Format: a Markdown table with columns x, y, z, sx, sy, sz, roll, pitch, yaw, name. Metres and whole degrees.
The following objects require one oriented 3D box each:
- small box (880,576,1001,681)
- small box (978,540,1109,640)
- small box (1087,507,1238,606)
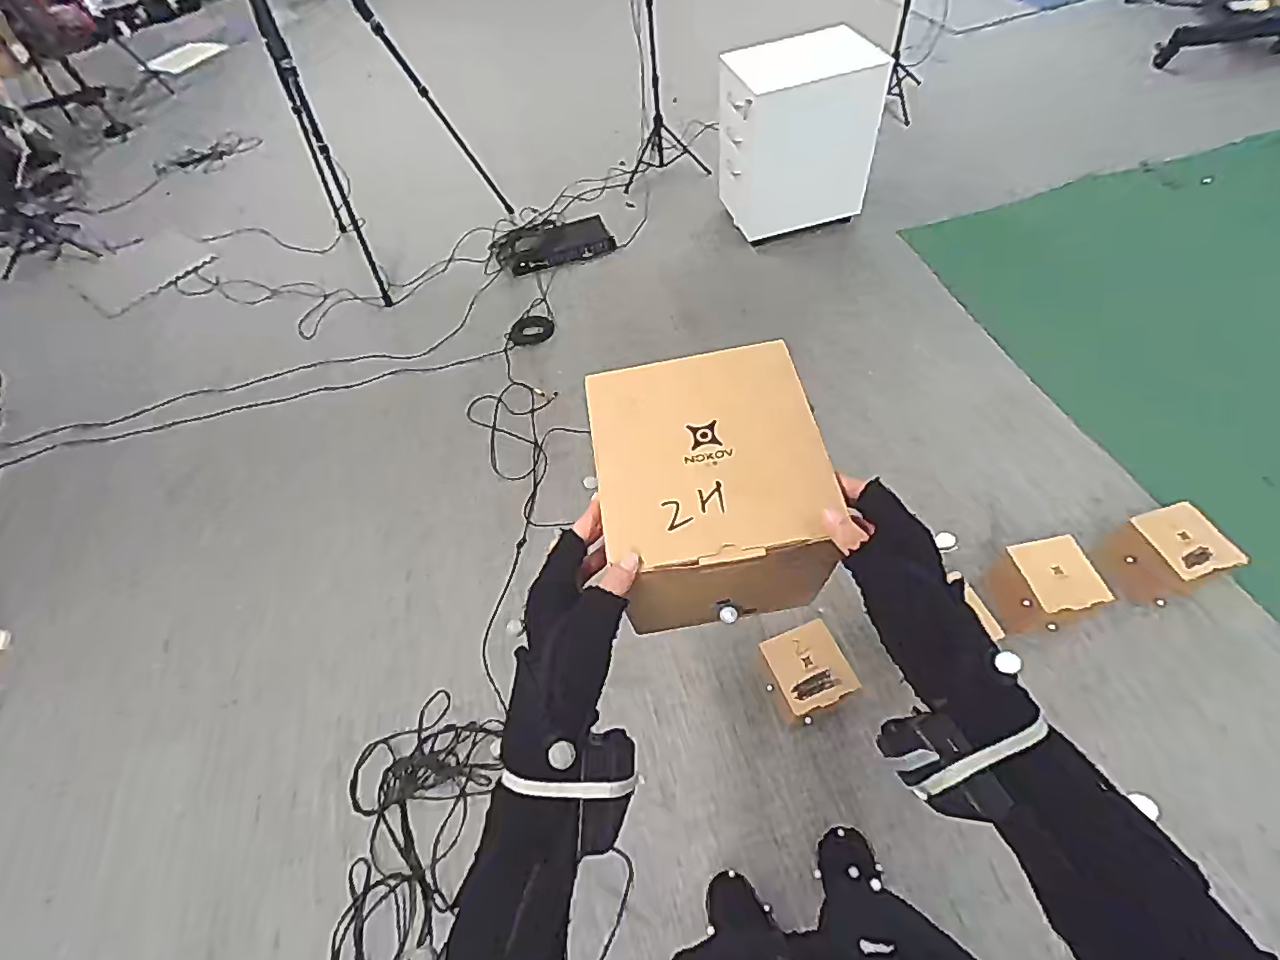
| x | y | z | sx | sy | sz | roll | pitch | yaw | name |
| --- | --- | --- | --- | --- | --- | --- | --- | --- | --- |
| 0.721 | 0.367 | 1.323 | 0.168 | 0.176 | 0.179 | -20 | 57 | -4 | small box |
| 0.991 | 0.277 | 1.351 | 0.168 | 0.176 | 0.179 | -11 | 56 | -1 | small box |
| 1.300 | 0.201 | 1.363 | 0.168 | 0.176 | 0.179 | -15 | 55 | -3 | small box |
